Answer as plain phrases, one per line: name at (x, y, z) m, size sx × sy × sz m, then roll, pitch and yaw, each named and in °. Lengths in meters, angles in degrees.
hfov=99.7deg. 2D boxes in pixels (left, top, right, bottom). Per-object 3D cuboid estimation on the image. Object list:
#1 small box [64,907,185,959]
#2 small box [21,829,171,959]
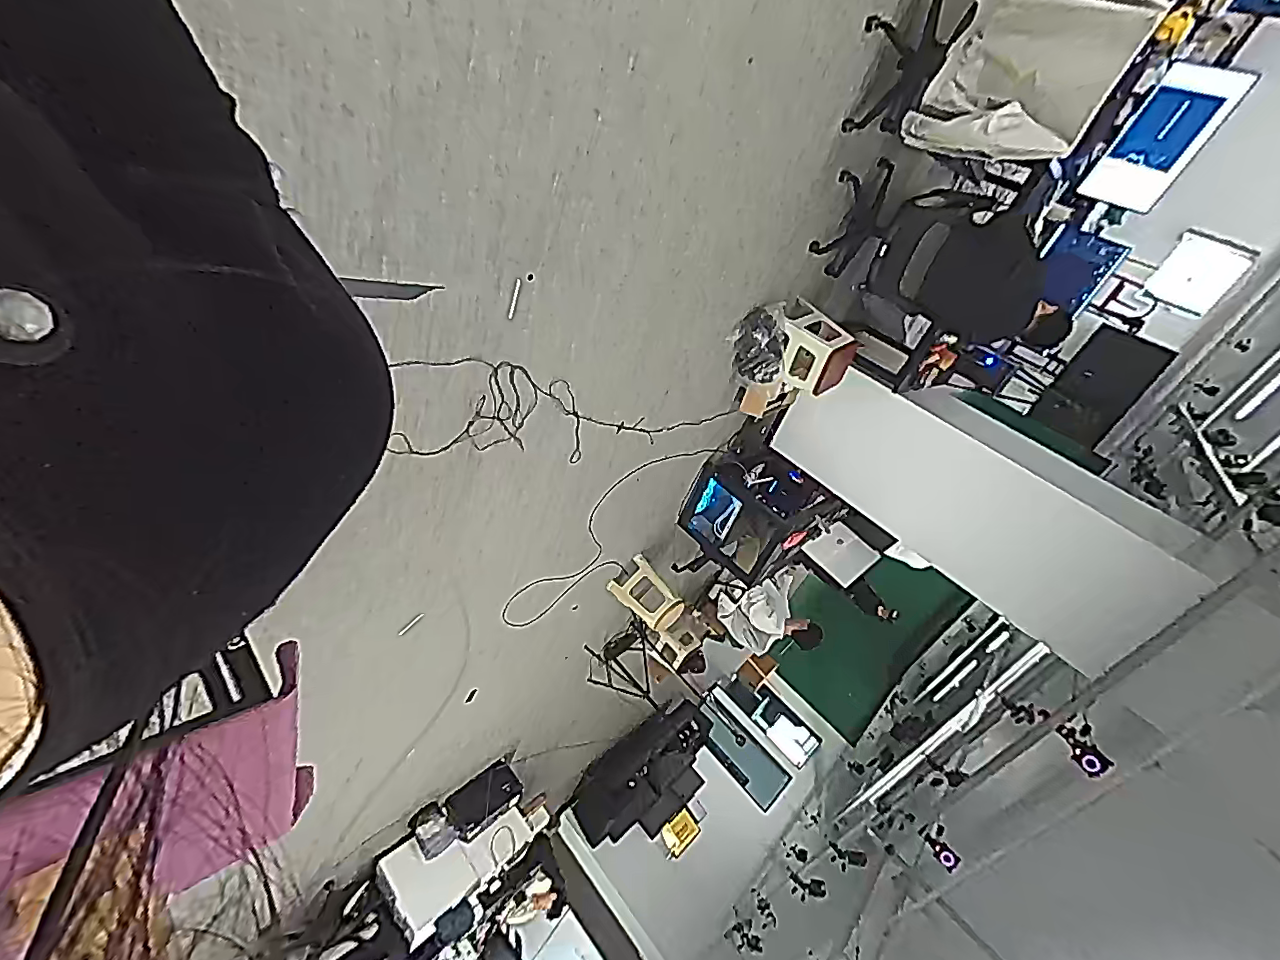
small box at (-0.896, 0.899, 0.936) m, size 0.168 × 0.176 × 0.179 m, roll -17°, pitch 140°, yaw -47°
small box at (-1.005, 0.797, 1.006) m, size 0.168 × 0.176 × 0.179 m, roll -16°, pitch 139°, yaw -48°
